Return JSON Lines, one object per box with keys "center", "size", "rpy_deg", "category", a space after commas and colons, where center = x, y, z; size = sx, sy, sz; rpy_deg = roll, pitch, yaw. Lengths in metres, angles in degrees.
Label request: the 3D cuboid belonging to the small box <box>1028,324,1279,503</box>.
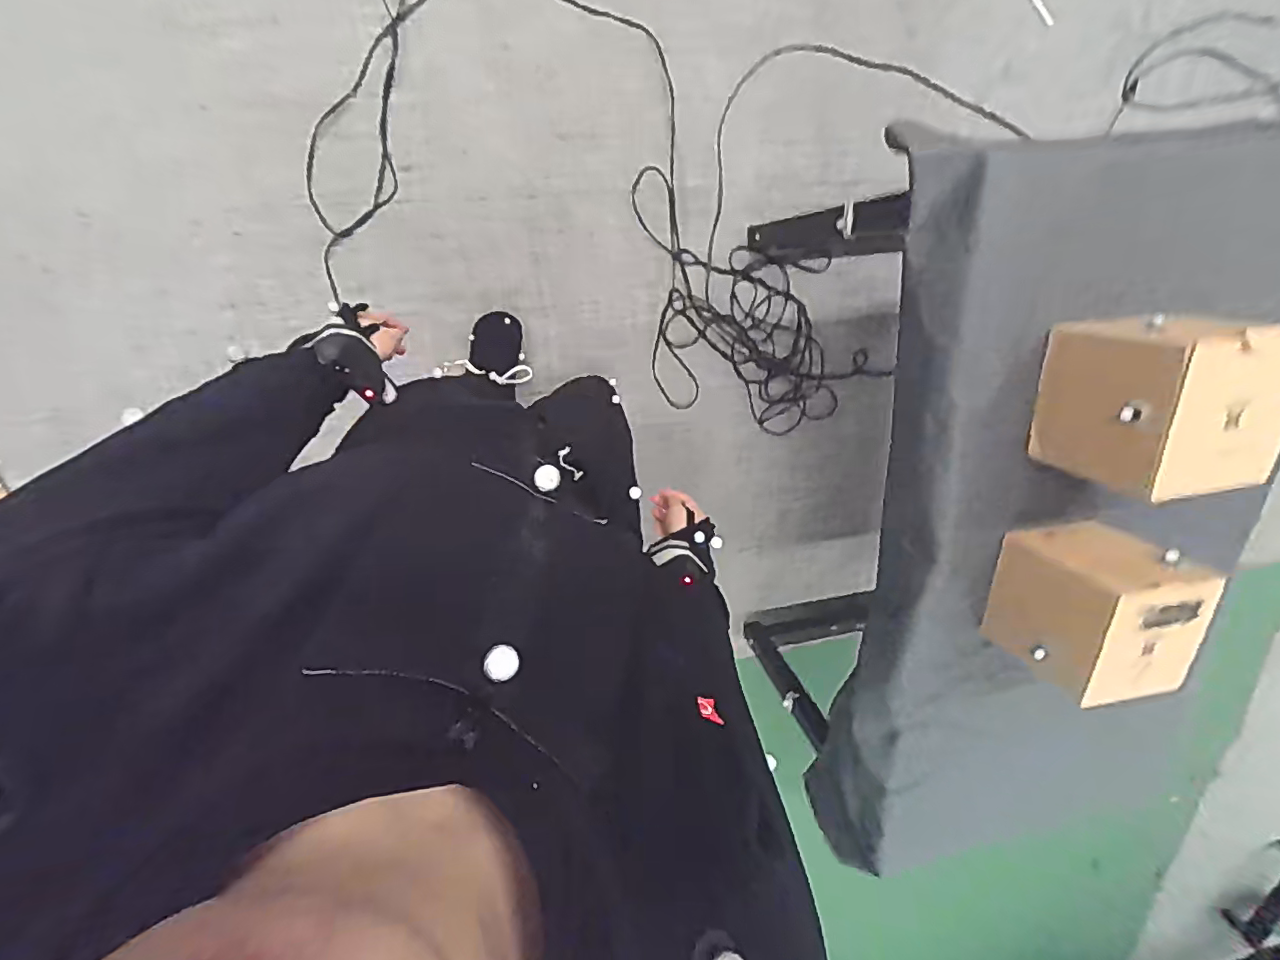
{"center": [0.617, -0.091, 0.653], "size": [0.168, 0.176, 0.179], "rpy_deg": [-7, 112, -9], "category": "small box"}
